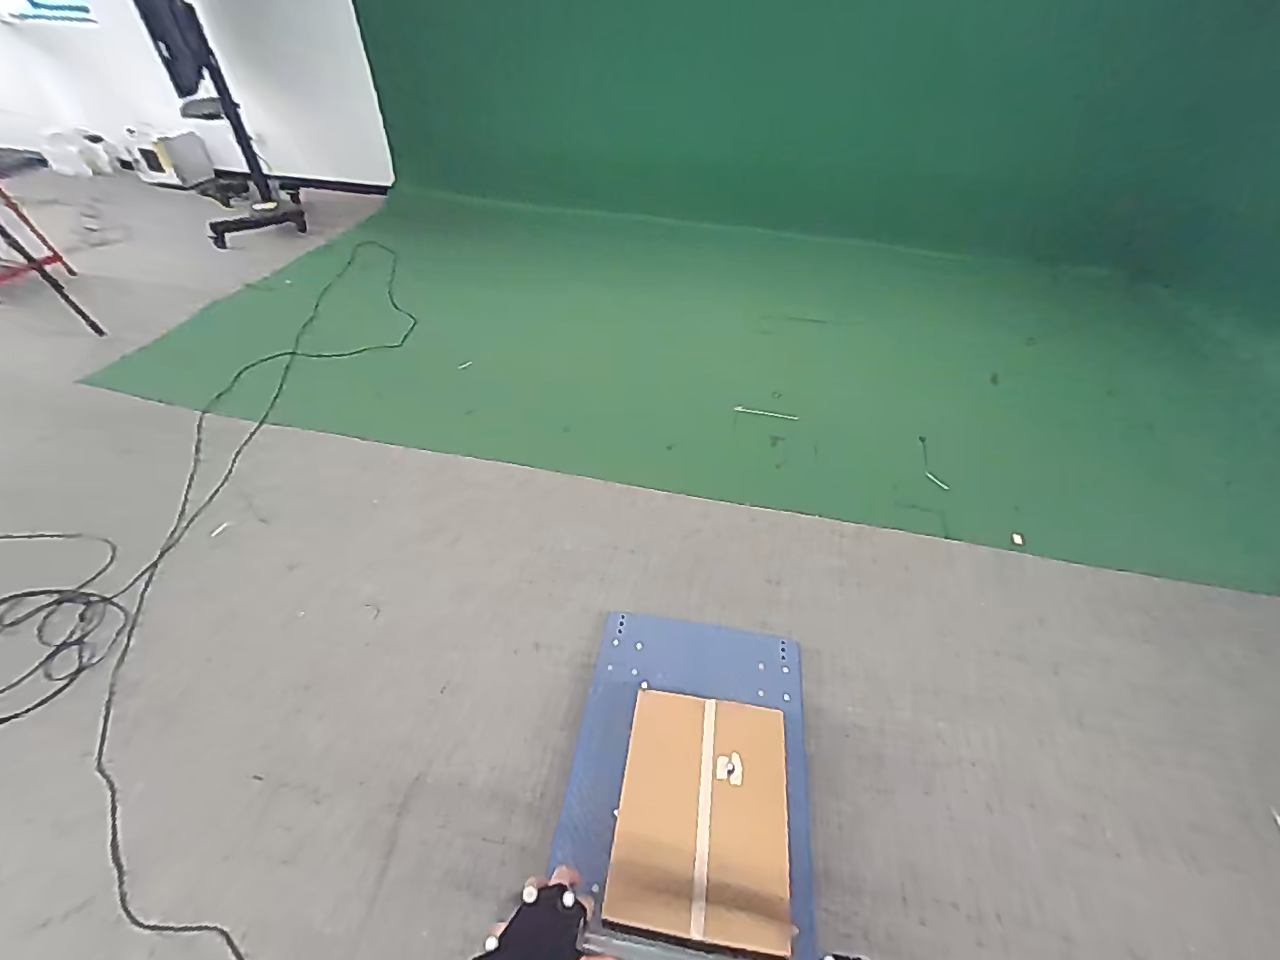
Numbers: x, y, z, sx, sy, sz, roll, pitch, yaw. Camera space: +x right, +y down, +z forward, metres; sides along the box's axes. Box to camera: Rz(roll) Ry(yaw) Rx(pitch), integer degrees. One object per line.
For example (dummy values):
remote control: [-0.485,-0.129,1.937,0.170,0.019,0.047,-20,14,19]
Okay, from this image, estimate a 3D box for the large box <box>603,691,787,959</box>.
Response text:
large box: [0.112,0.723,1.132,0.320,0.320,0.408,8,43,5]
